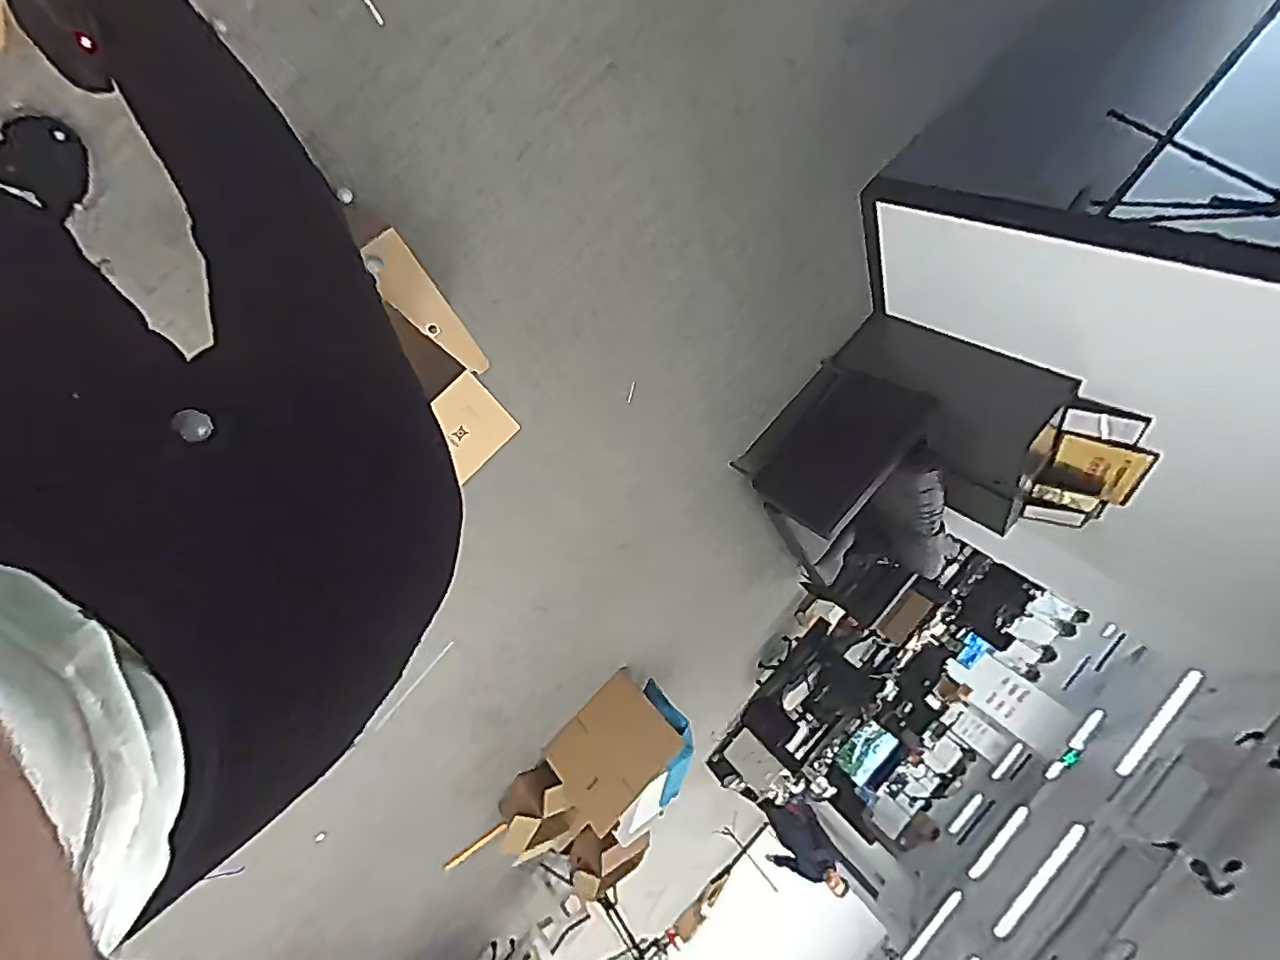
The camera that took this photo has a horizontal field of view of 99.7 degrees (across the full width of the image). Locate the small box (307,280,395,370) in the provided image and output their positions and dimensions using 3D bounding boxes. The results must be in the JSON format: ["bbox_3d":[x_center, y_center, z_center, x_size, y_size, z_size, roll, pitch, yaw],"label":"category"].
[{"bbox_3d":[-0.571,-0.290,1.148,0.179,0.176,0.168,-44,144,-8],"label":"small box"}]

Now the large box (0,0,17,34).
[{"bbox_3d":[-1.047,-0.795,0.623,0.408,0.320,0.320,-1,120,-45],"label":"large box"}]

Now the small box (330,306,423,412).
[{"bbox_3d":[-0.470,-0.204,1.053,0.179,0.176,0.168,-45,143,-9],"label":"small box"}]

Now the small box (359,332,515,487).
[{"bbox_3d":[-0.364,-0.127,0.957,0.179,0.176,0.168,-46,144,-8],"label":"small box"}]
